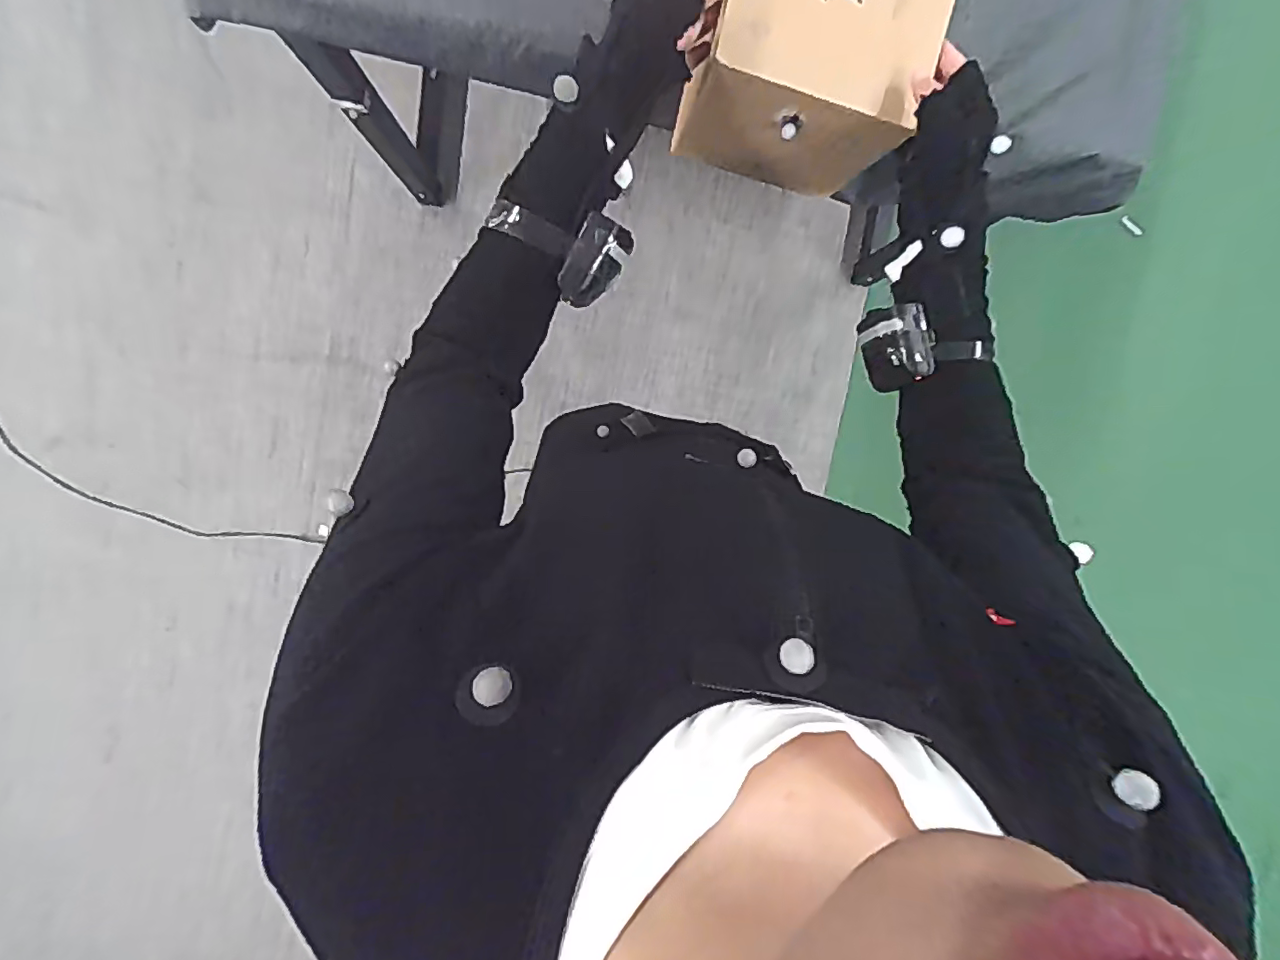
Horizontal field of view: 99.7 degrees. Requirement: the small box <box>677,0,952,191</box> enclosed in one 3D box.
[{"bbox_3d":[0.144,-0.387,0.485,0.179,0.176,0.168,11,99,-11],"label":"small box"}]
